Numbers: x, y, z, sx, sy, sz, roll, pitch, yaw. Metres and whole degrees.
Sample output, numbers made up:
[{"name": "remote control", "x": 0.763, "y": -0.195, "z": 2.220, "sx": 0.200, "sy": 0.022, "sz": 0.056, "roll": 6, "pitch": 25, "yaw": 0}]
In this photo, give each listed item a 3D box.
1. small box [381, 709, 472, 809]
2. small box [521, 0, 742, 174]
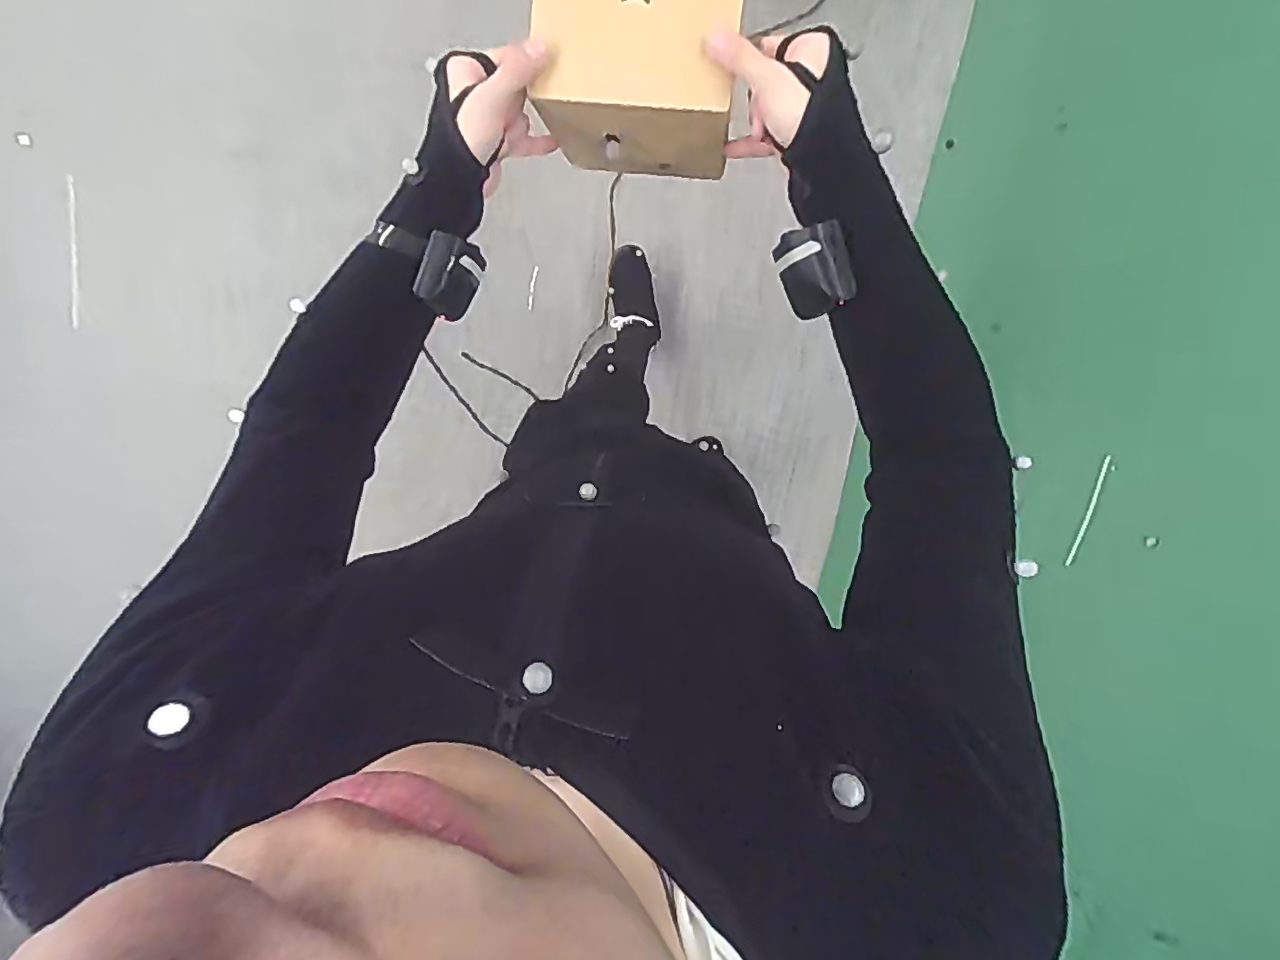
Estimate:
[{"name": "small box", "x": -0.593, "y": 0.776, "z": 1.521, "sx": 0.179, "sy": 0.176, "sz": 0.168, "roll": 12, "pitch": 99, "yaw": 5}, {"name": "small box", "x": 0.003, "y": -0.397, "z": 0.484, "sx": 0.168, "sy": 0.176, "sz": 0.179, "roll": 7, "pitch": 102, "yaw": 5}]
